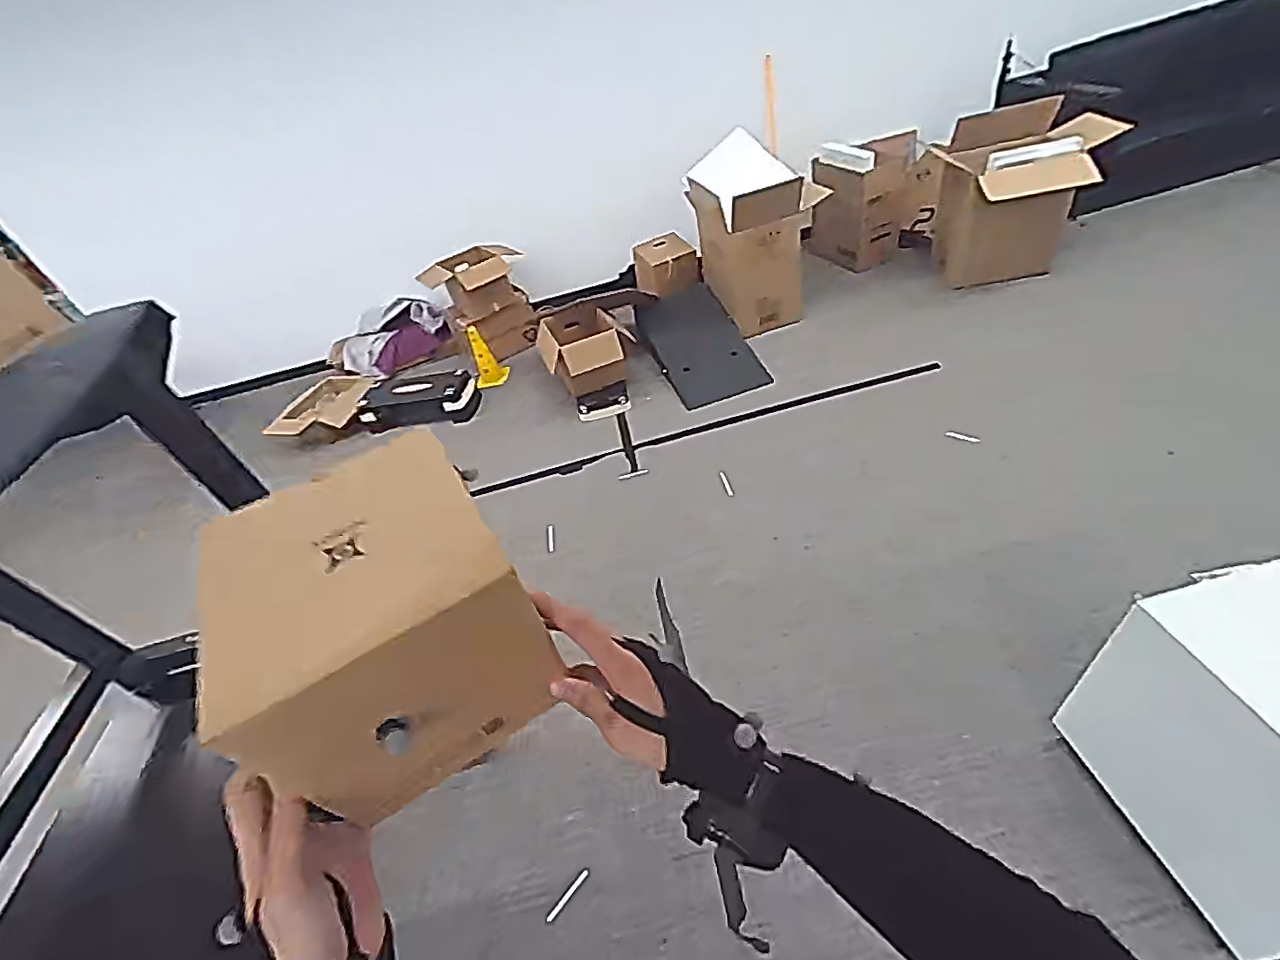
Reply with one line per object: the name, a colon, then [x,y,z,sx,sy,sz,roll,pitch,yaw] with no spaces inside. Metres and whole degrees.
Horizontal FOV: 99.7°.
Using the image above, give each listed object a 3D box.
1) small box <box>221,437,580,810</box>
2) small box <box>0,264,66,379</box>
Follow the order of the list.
small box: [-0.163,0.106,0.395,0.168,0.176,0.179,-29,46,-18]
small box: [-0.897,-0.195,0.659,0.179,0.176,0.168,-17,43,1]
